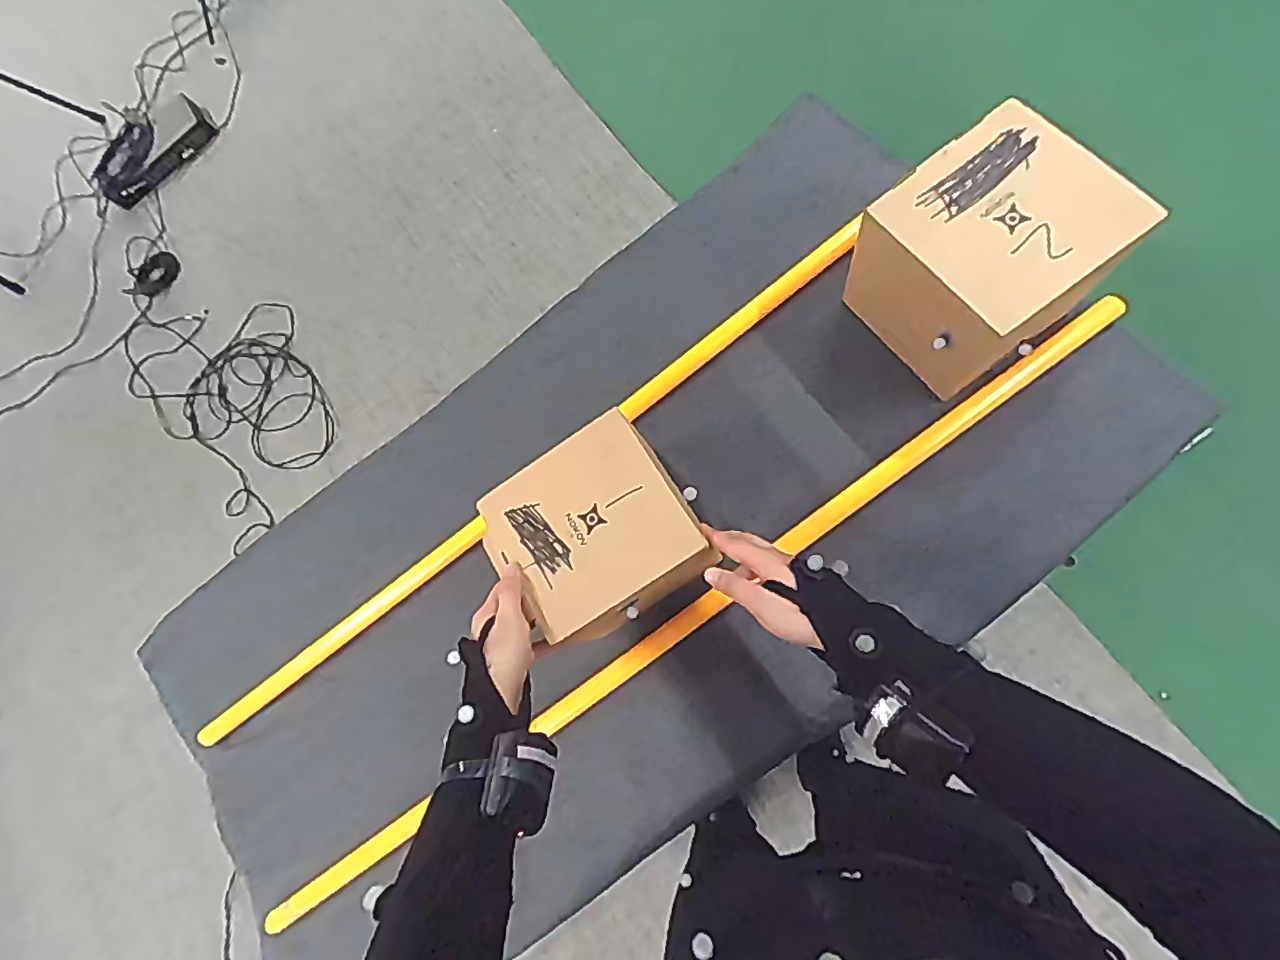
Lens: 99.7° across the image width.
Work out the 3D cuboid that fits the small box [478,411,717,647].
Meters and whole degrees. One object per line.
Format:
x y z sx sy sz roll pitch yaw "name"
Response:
-0.033 0.059 0.586 0.179 0.176 0.168 -34 74 4 "small box"
